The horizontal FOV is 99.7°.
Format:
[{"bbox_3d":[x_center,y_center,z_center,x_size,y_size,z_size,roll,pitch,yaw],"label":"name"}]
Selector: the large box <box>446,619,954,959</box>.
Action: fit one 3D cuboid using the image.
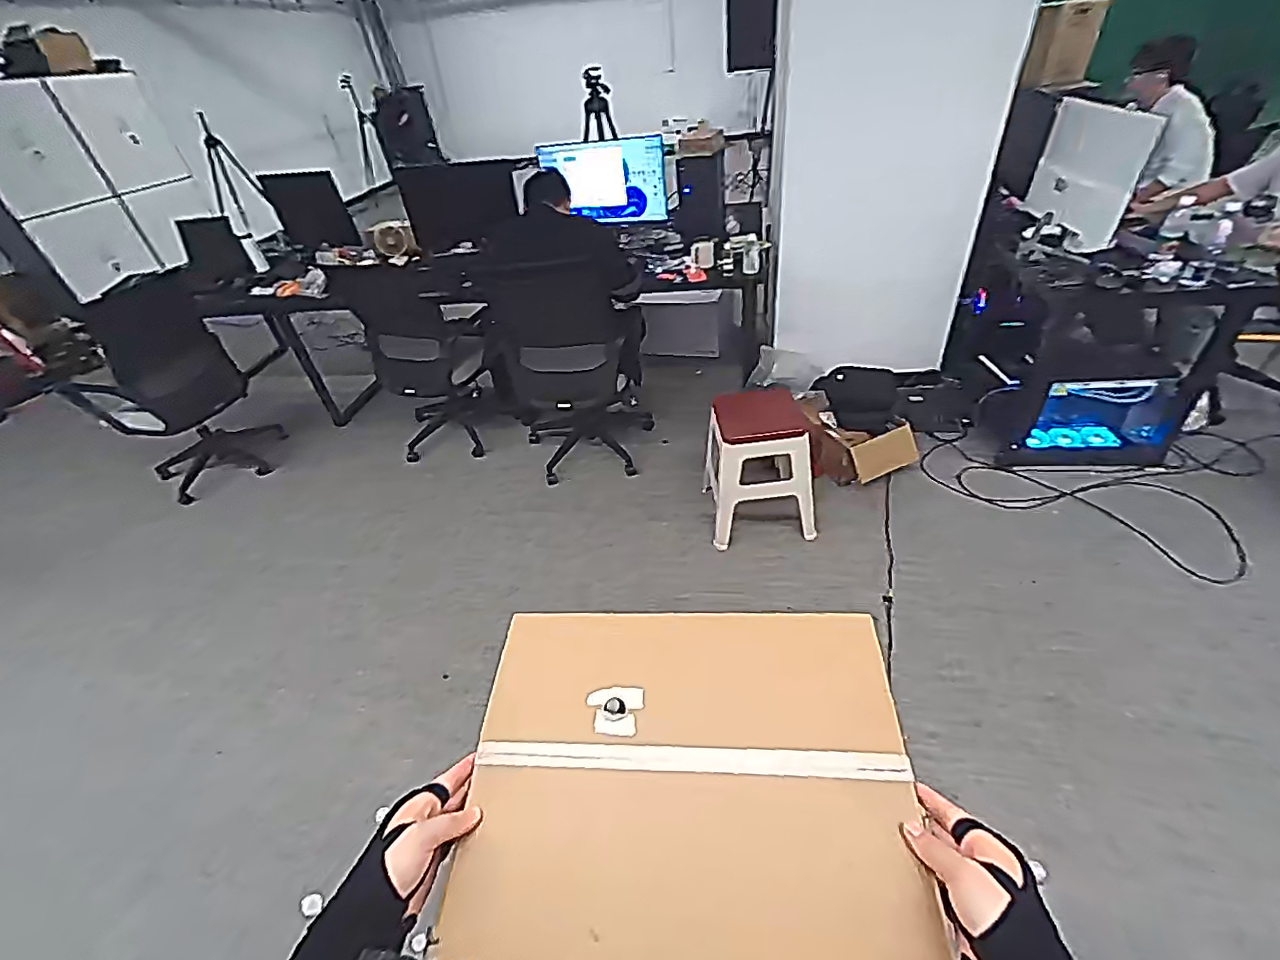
[{"bbox_3d":[0.068,0.377,0.621,0.408,0.320,0.320,-3,44,9],"label":"large box"}]
